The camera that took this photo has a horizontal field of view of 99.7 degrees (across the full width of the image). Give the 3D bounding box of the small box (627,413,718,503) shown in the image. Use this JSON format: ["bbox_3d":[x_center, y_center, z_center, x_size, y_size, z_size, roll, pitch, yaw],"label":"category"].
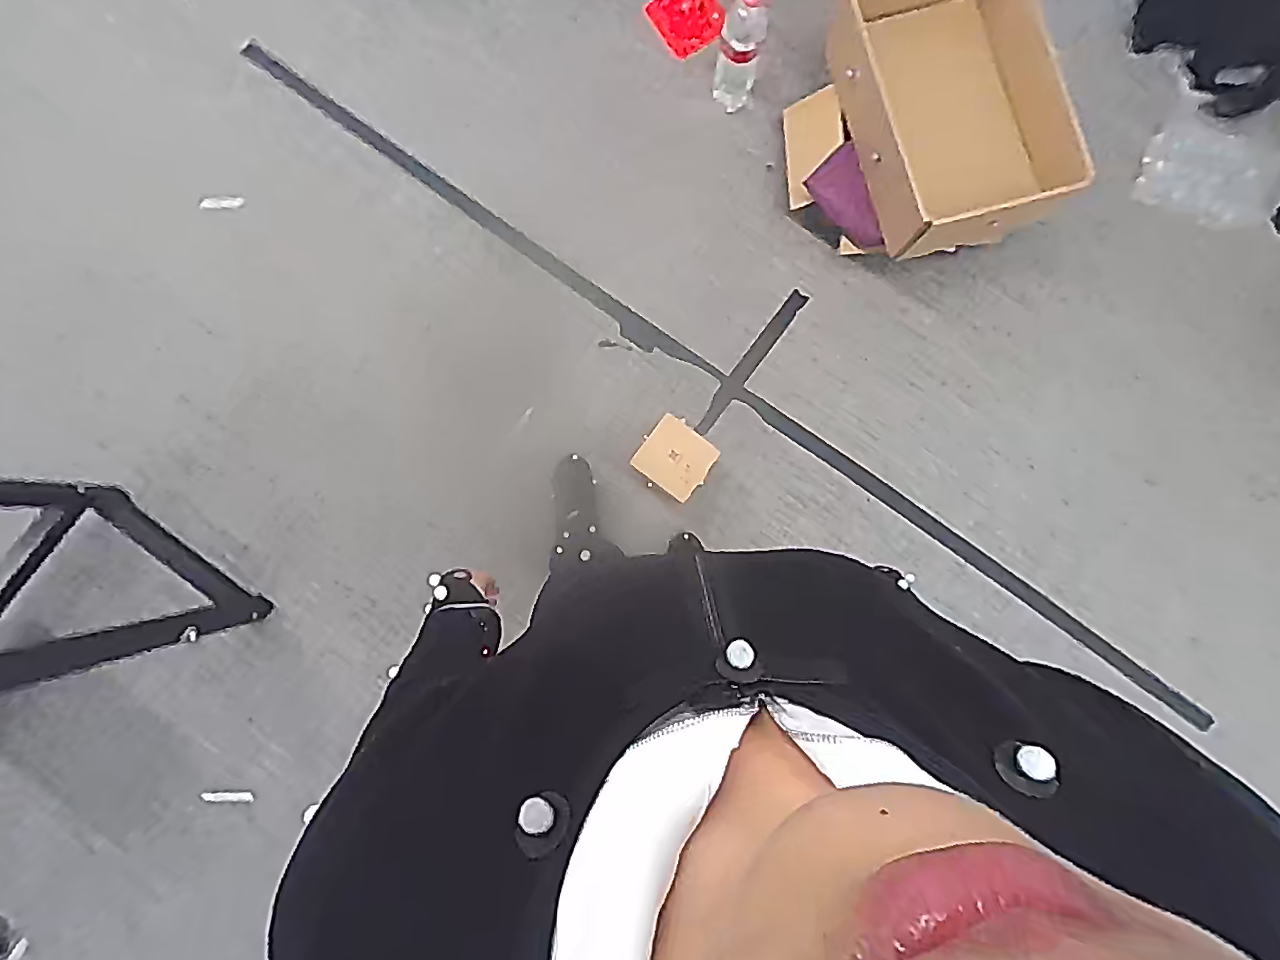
[{"bbox_3d":[0.081,-0.051,1.440,0.179,0.176,0.168,37,88,1],"label":"small box"}]
